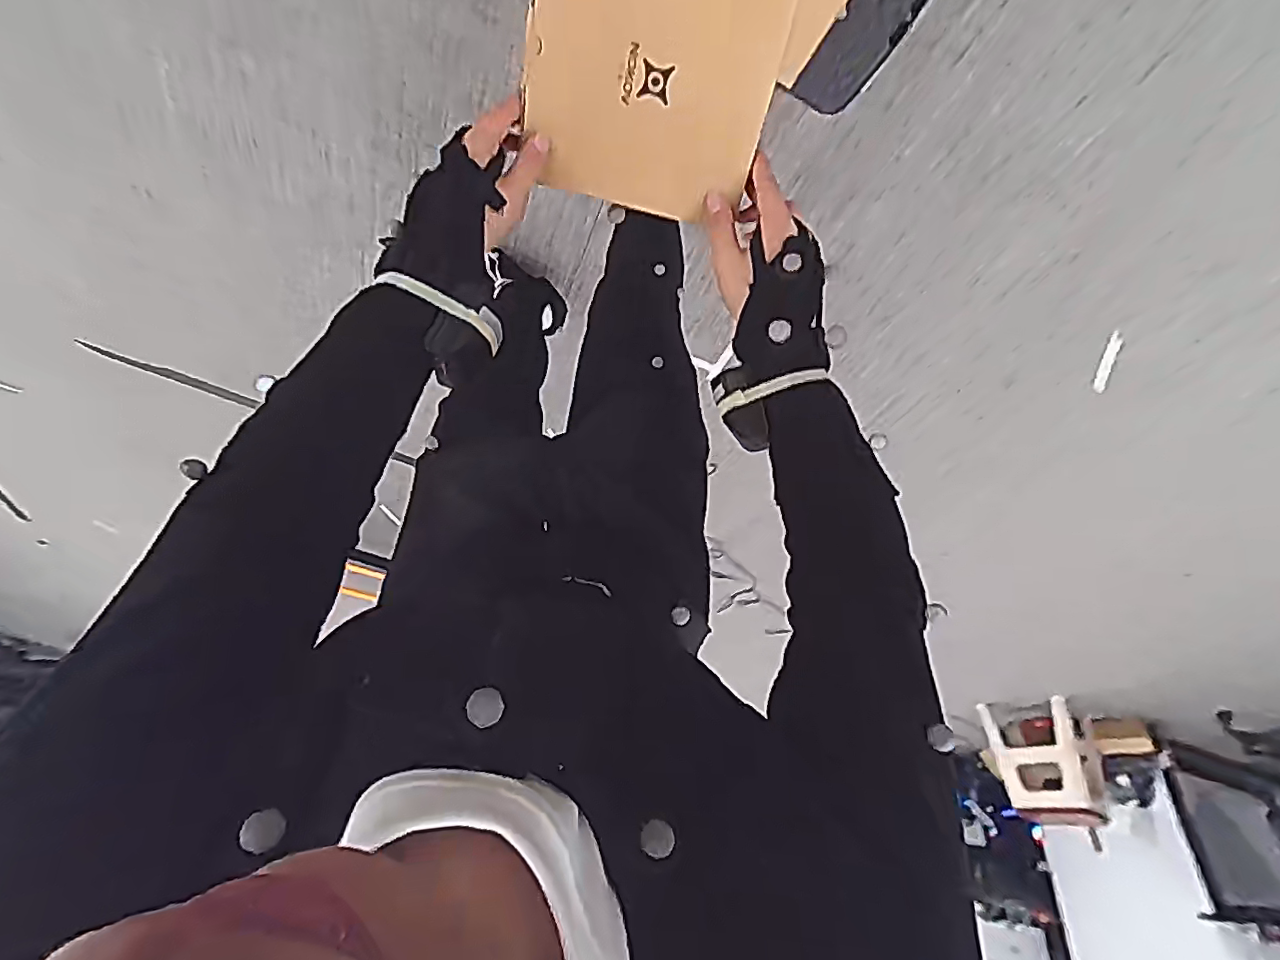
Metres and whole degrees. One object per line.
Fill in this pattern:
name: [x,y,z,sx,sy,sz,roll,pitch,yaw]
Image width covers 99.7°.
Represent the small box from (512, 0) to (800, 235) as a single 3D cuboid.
small box: [0.009,-0.318,0.442,0.179,0.176,0.168,13,121,-3]
